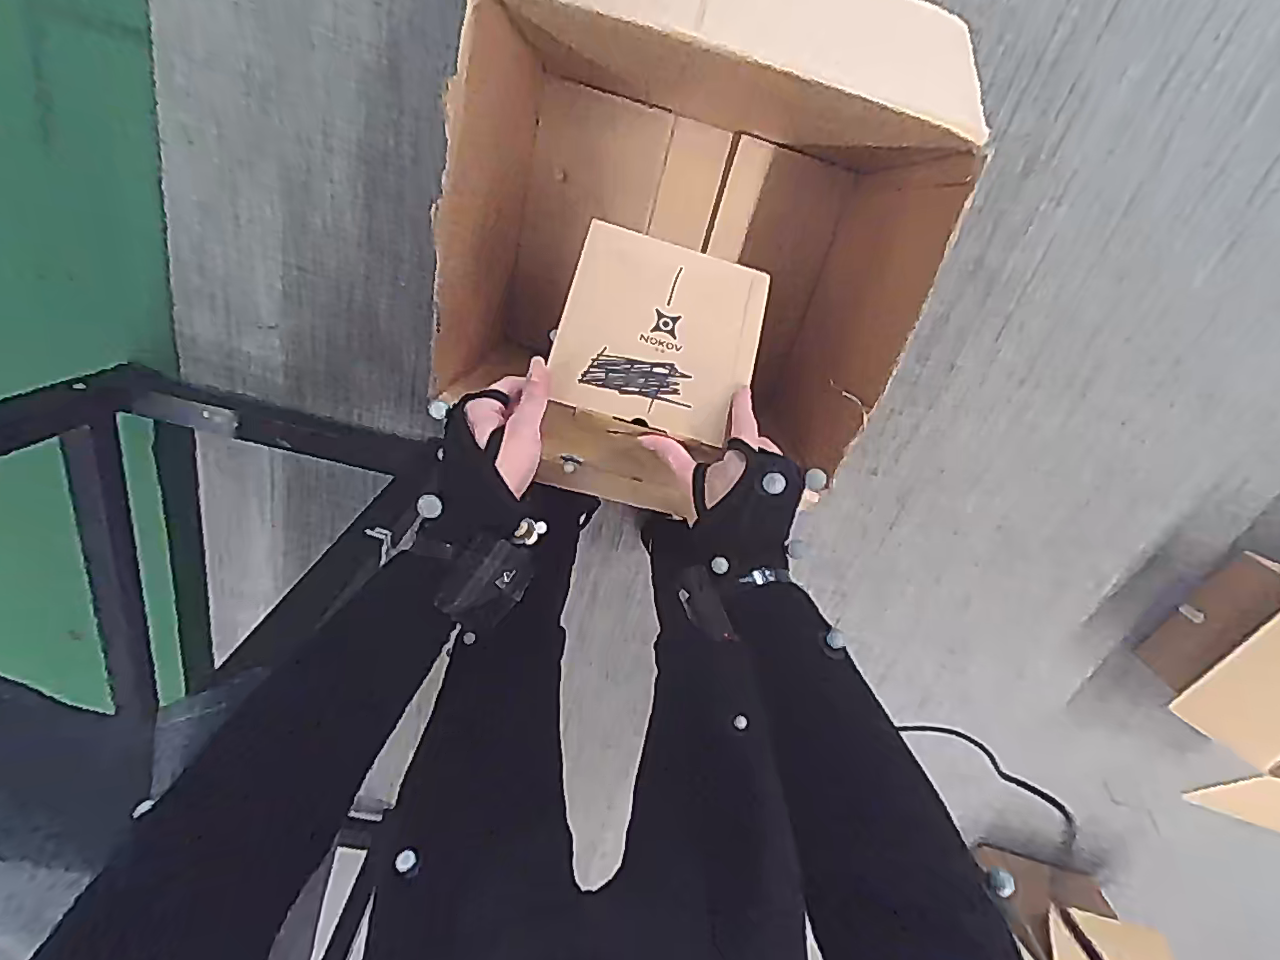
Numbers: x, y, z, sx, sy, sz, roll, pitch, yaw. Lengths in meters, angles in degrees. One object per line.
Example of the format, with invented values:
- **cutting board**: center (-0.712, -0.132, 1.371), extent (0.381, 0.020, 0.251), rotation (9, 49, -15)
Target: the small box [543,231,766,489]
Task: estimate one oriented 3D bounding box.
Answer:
- **small box**: center (0.007, -0.103, 0.546), extent (0.168, 0.176, 0.179), rotation (15, 74, -6)
